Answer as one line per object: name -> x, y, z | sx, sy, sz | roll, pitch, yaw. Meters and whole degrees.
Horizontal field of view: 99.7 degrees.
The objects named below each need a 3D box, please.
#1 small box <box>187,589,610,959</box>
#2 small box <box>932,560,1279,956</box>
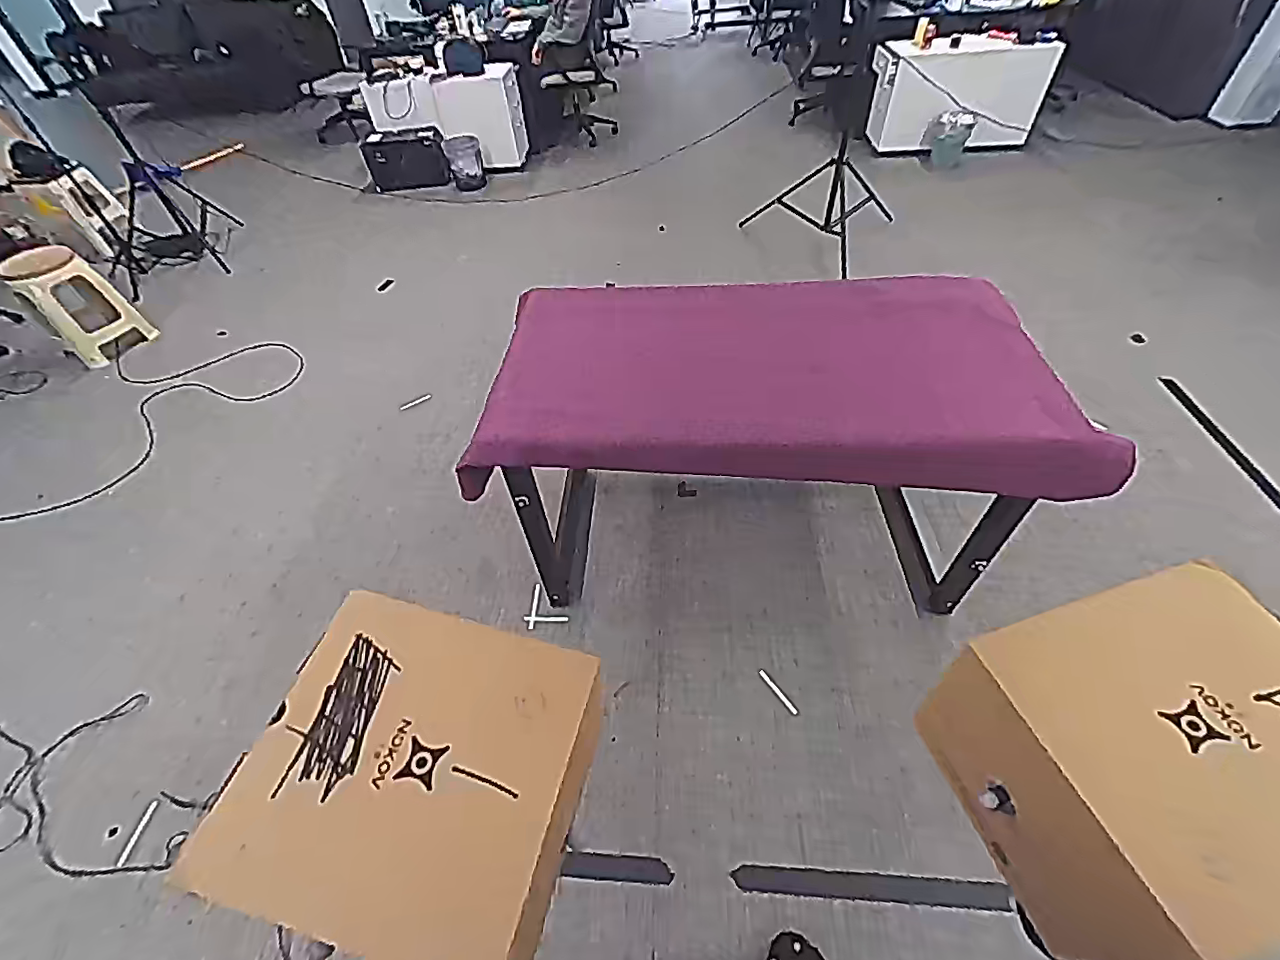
small box -> -0.127, 0.202, 0.367 | 0.179, 0.176, 0.168 | 14, 54, 6
small box -> 0.326, 0.186, 0.361 | 0.179, 0.176, 0.168 | -18, 50, -4
